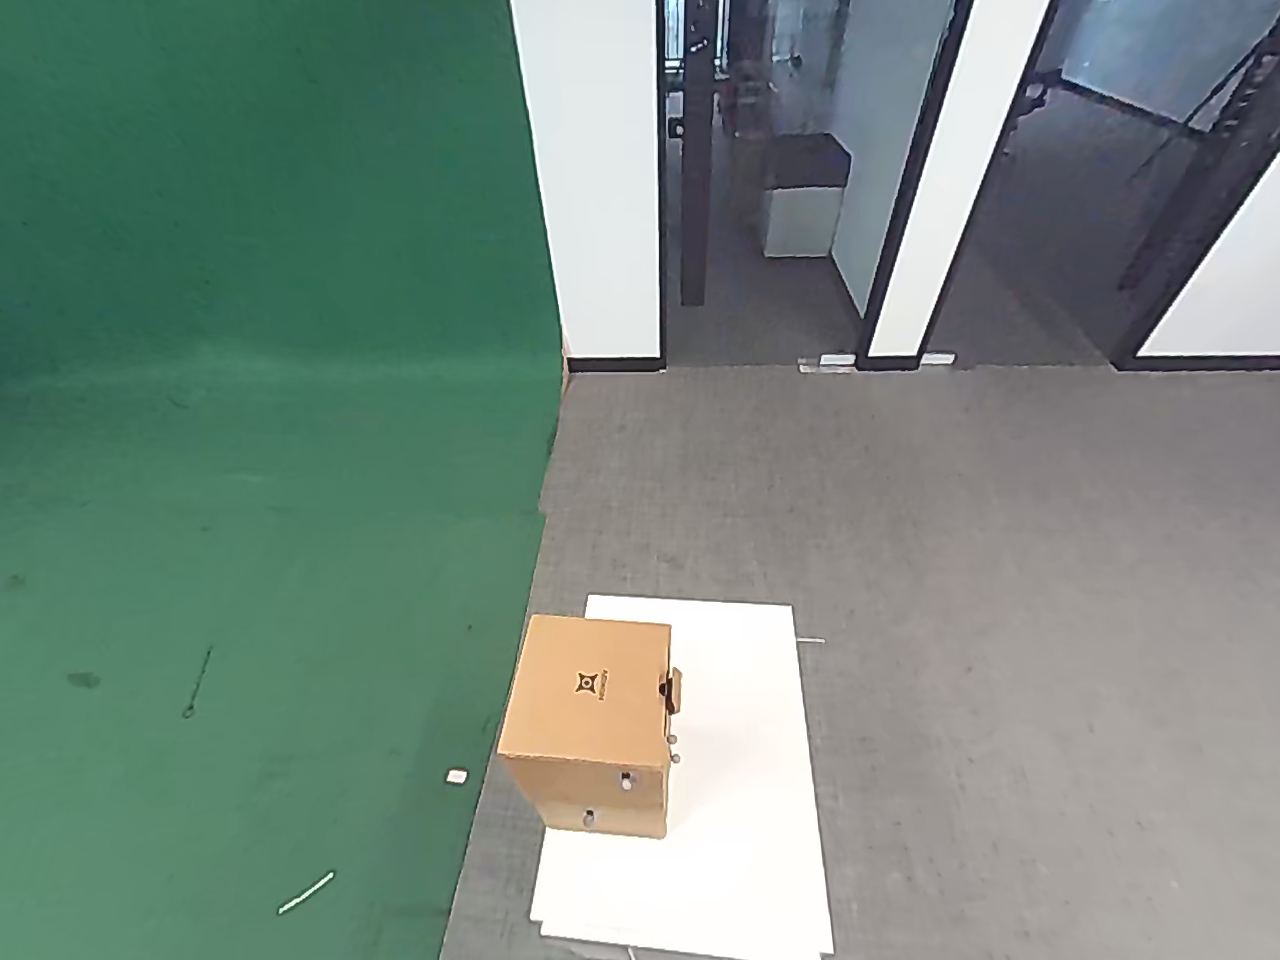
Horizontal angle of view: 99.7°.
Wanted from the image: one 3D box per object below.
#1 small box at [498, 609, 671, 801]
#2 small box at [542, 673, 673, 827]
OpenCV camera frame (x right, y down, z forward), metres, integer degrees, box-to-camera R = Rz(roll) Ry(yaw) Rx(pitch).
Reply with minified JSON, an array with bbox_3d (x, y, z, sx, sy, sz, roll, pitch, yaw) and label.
[{"bbox_3d":[-0.053,0.277,0.663,0.179,0.176,0.168,3,46,4],"label":"small box"},{"bbox_3d":[-0.044,0.386,0.784,0.179,0.176,0.168,2,46,5],"label":"small box"}]
